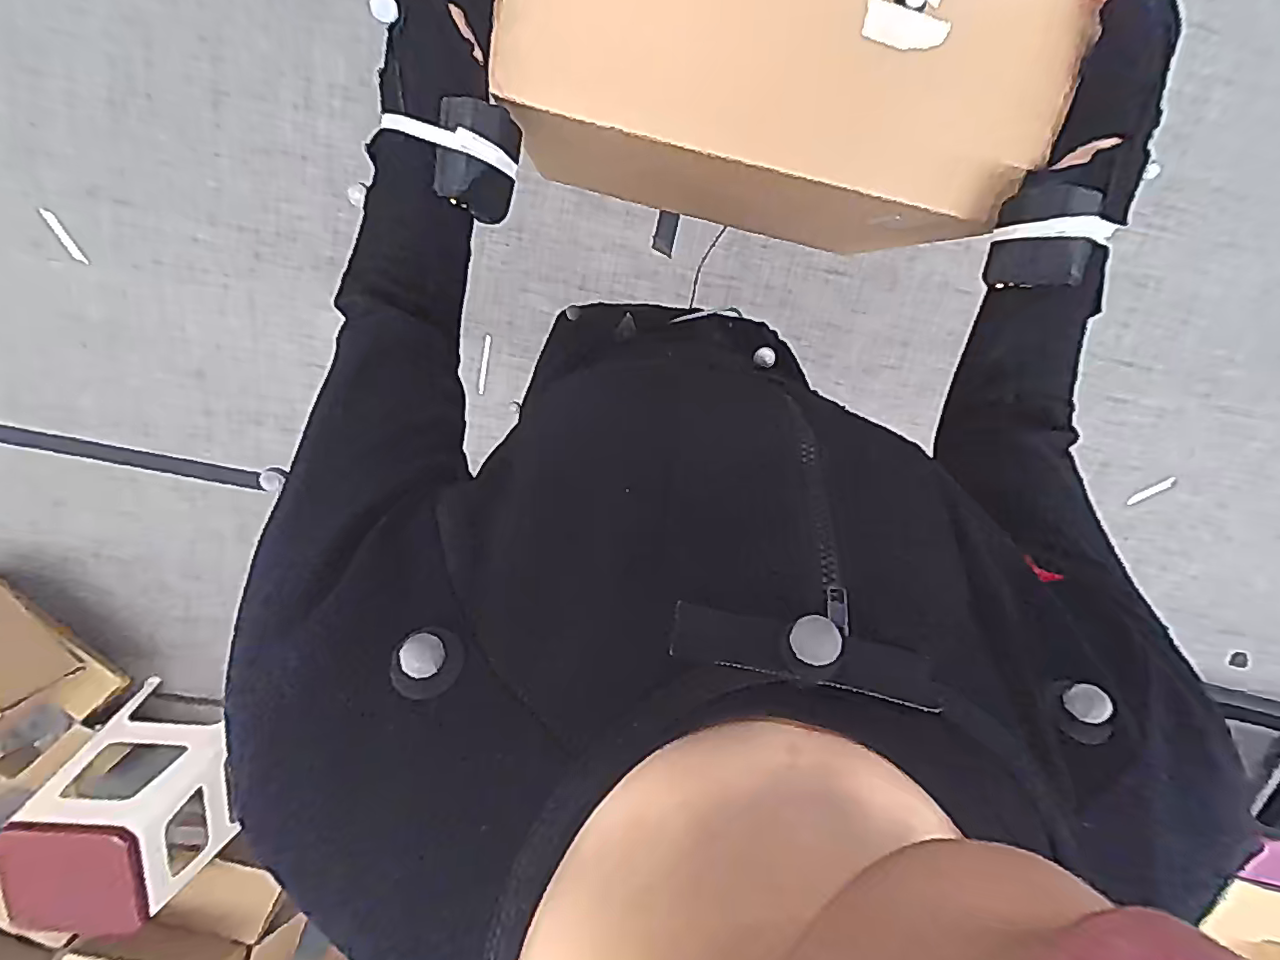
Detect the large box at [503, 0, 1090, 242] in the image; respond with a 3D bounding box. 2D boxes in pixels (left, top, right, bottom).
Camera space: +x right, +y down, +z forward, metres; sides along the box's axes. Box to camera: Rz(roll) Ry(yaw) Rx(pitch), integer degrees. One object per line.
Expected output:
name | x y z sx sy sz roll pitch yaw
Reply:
large box | 0.113 -0.430 0.493 0.408 0.320 0.320 10 110 -8
